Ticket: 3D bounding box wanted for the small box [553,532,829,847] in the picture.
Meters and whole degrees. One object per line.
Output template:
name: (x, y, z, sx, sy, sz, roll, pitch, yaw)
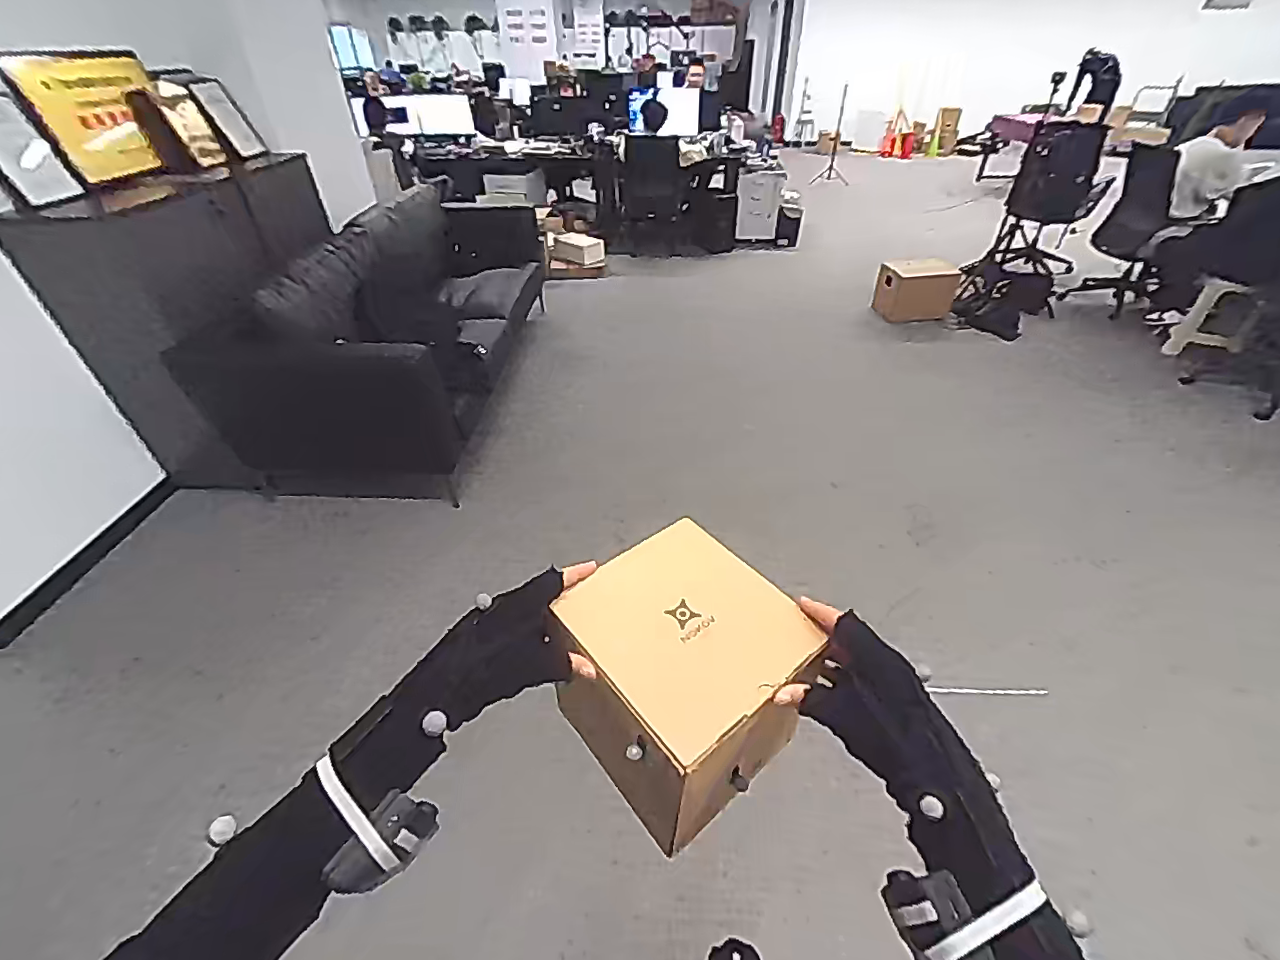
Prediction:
small box: (0.035, 0.185, 0.499, 0.168, 0.176, 0.179, -25, 47, -31)
